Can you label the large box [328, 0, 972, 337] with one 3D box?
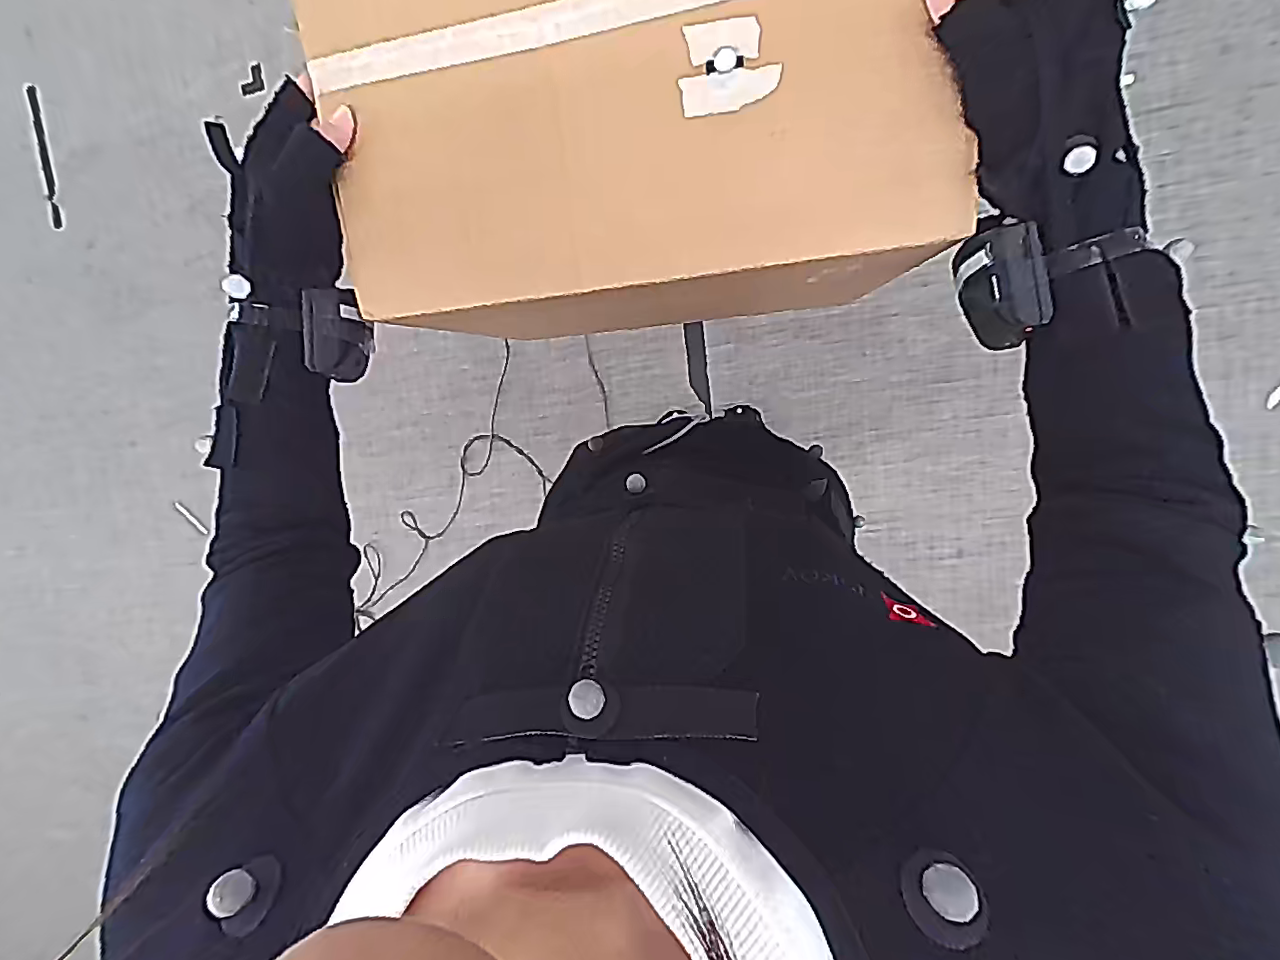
[{"bbox_3d":[0.010,-0.318,0.481,0.408,0.320,0.320,-5,101,9],"label":"large box"}]
